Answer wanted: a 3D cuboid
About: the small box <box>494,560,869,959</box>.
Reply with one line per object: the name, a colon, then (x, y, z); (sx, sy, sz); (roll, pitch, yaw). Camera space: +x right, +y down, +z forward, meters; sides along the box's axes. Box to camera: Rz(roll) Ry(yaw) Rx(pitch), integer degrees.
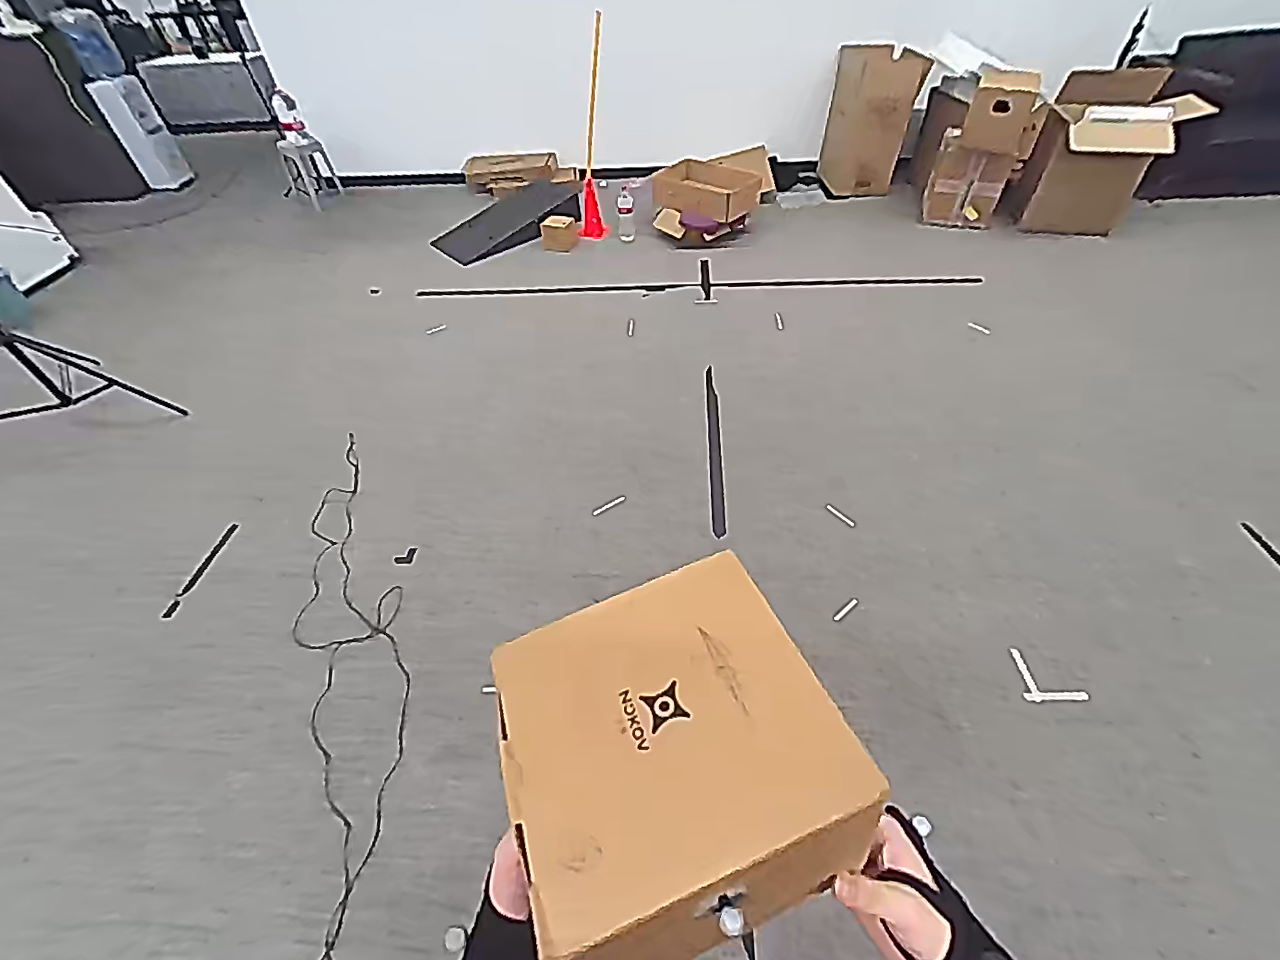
small box: (0.024, 0.192, 0.365); (0.179, 0.176, 0.168); (-22, 43, -8)
